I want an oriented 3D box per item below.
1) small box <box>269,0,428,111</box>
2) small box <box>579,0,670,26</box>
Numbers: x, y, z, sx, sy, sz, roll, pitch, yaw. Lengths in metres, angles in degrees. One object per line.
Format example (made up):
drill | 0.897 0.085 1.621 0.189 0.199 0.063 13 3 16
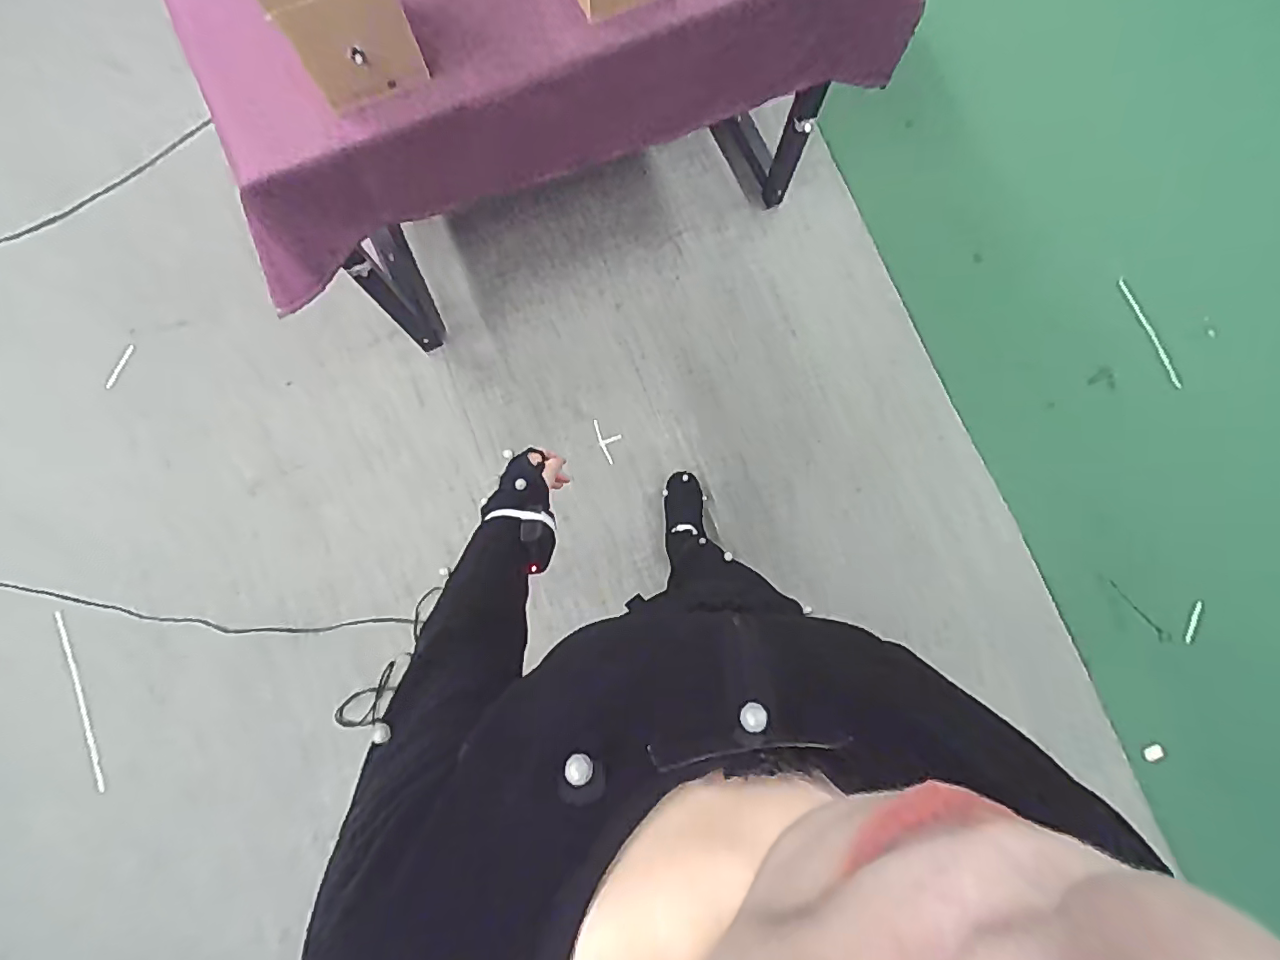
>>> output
small box | -0.448 -0.702 0.816 0.168 0.176 0.179 -24 81 -5
small box | -0.037 -0.875 0.850 0.179 0.176 0.168 -25 82 -4
